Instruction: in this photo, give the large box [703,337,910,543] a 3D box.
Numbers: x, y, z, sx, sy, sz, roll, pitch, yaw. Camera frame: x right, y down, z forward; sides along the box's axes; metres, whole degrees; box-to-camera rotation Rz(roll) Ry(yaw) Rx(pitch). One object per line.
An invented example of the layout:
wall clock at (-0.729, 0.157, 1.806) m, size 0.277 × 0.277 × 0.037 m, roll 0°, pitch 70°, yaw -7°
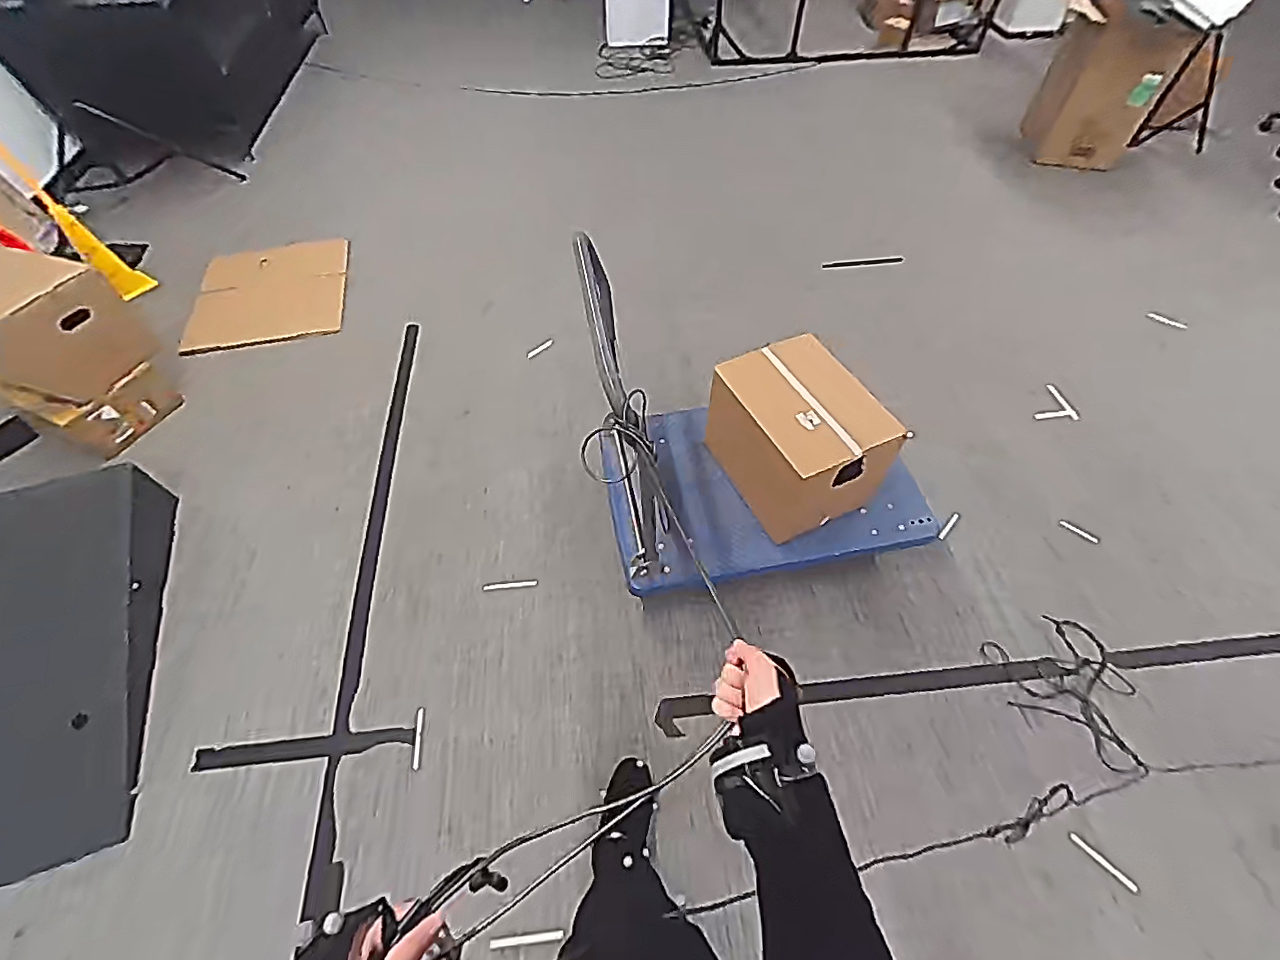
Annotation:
large box at (0.412, -0.109, 1.456) m, size 0.320 × 0.320 × 0.408 m, roll -22°, pitch 59°, yaw -14°
